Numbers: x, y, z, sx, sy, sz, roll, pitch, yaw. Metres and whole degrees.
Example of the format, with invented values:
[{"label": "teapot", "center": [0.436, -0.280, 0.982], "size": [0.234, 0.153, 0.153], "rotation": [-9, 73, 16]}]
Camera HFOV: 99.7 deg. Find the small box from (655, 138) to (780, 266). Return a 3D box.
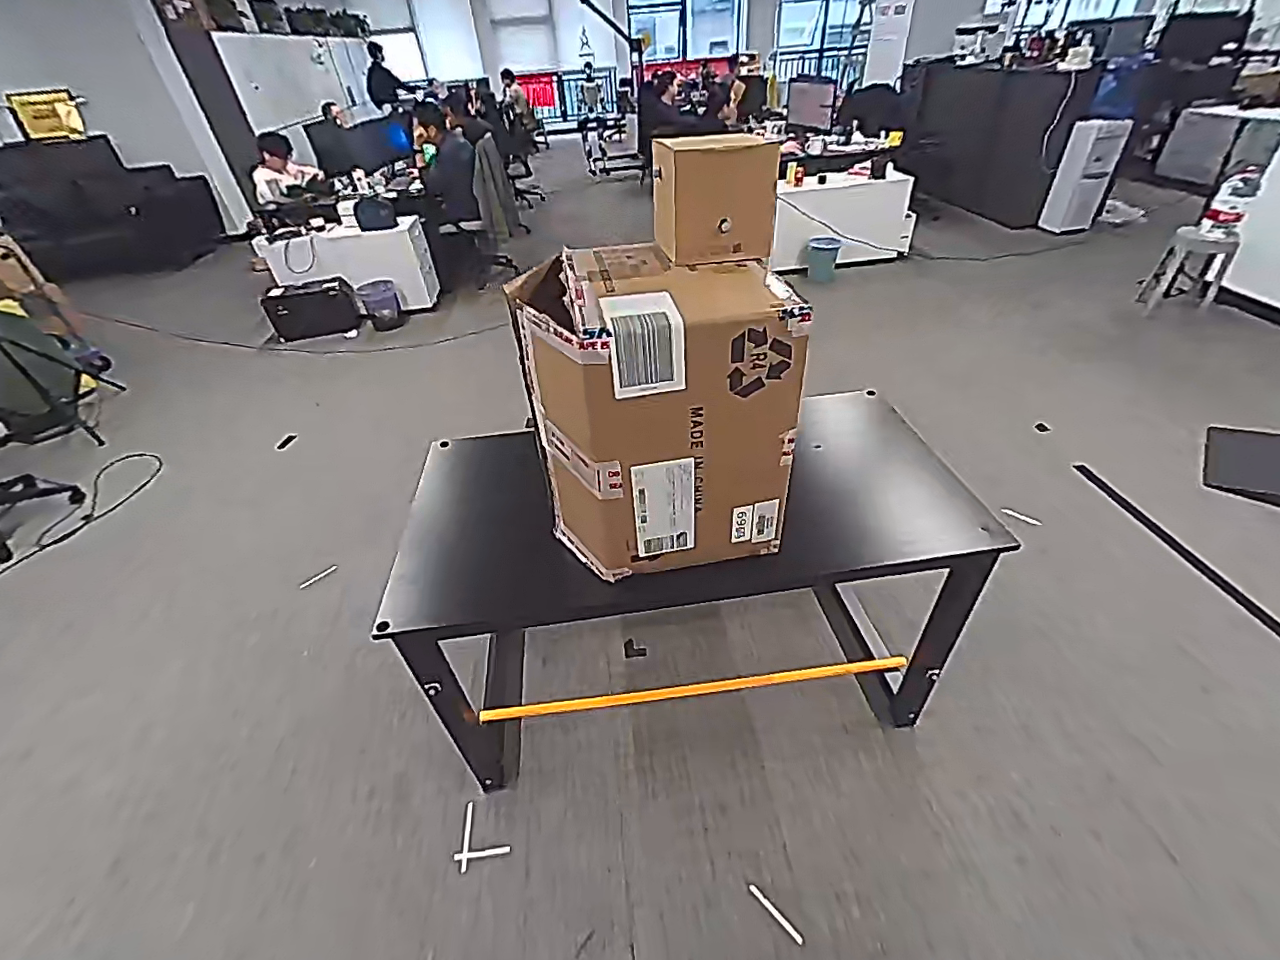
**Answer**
[{"label": "small box", "center": [0.121, -0.474, 0.920], "size": [0.168, 0.176, 0.179], "rotation": [-9, 37, -6]}]
